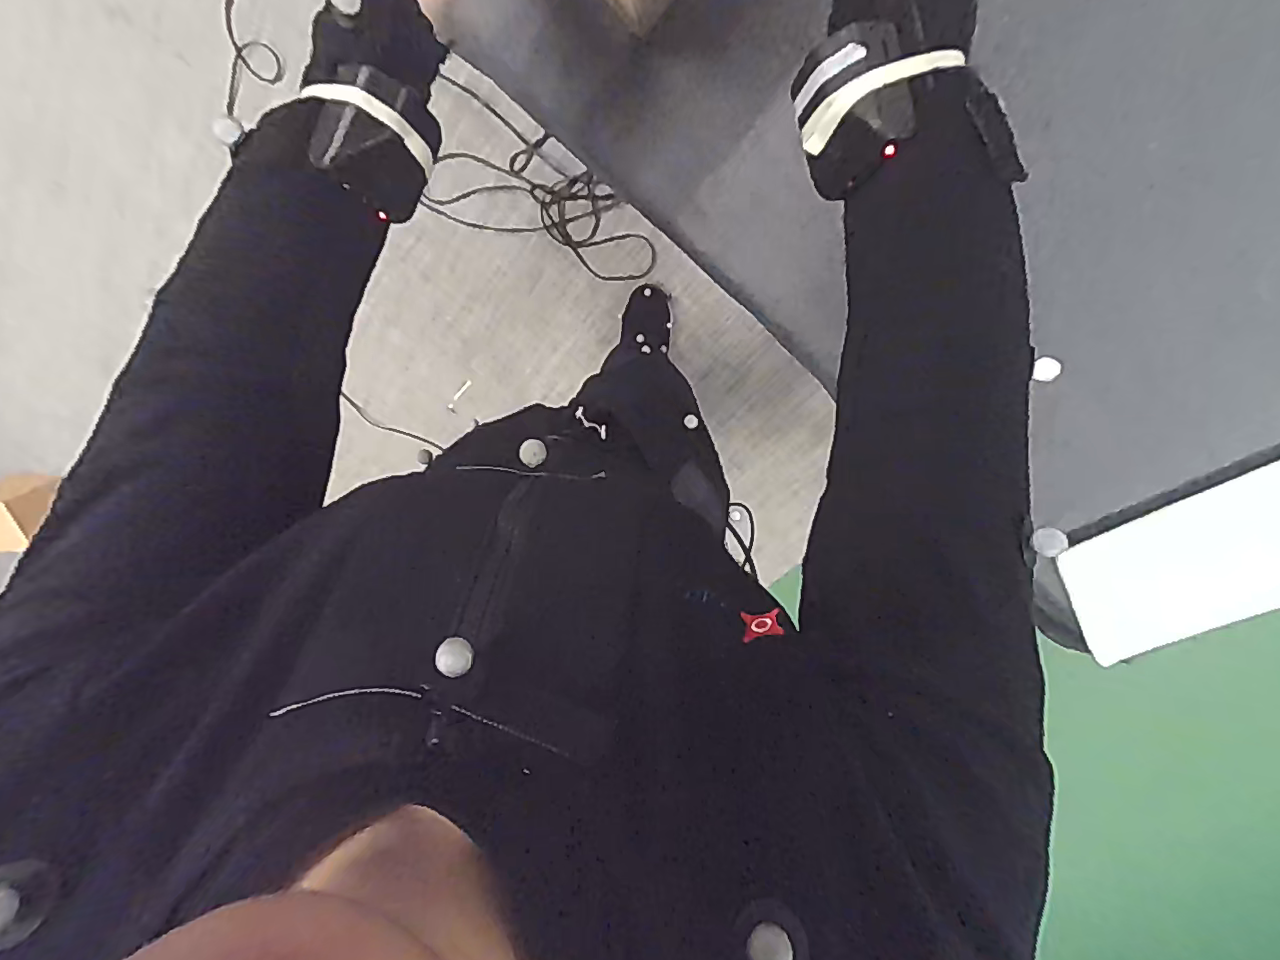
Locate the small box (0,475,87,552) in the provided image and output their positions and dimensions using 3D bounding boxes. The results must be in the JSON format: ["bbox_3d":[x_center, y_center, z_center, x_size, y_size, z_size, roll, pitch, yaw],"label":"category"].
[{"bbox_3d":[-1.784,0.093,1.561,0.179,0.176,0.168,0,118,5],"label":"small box"}]
